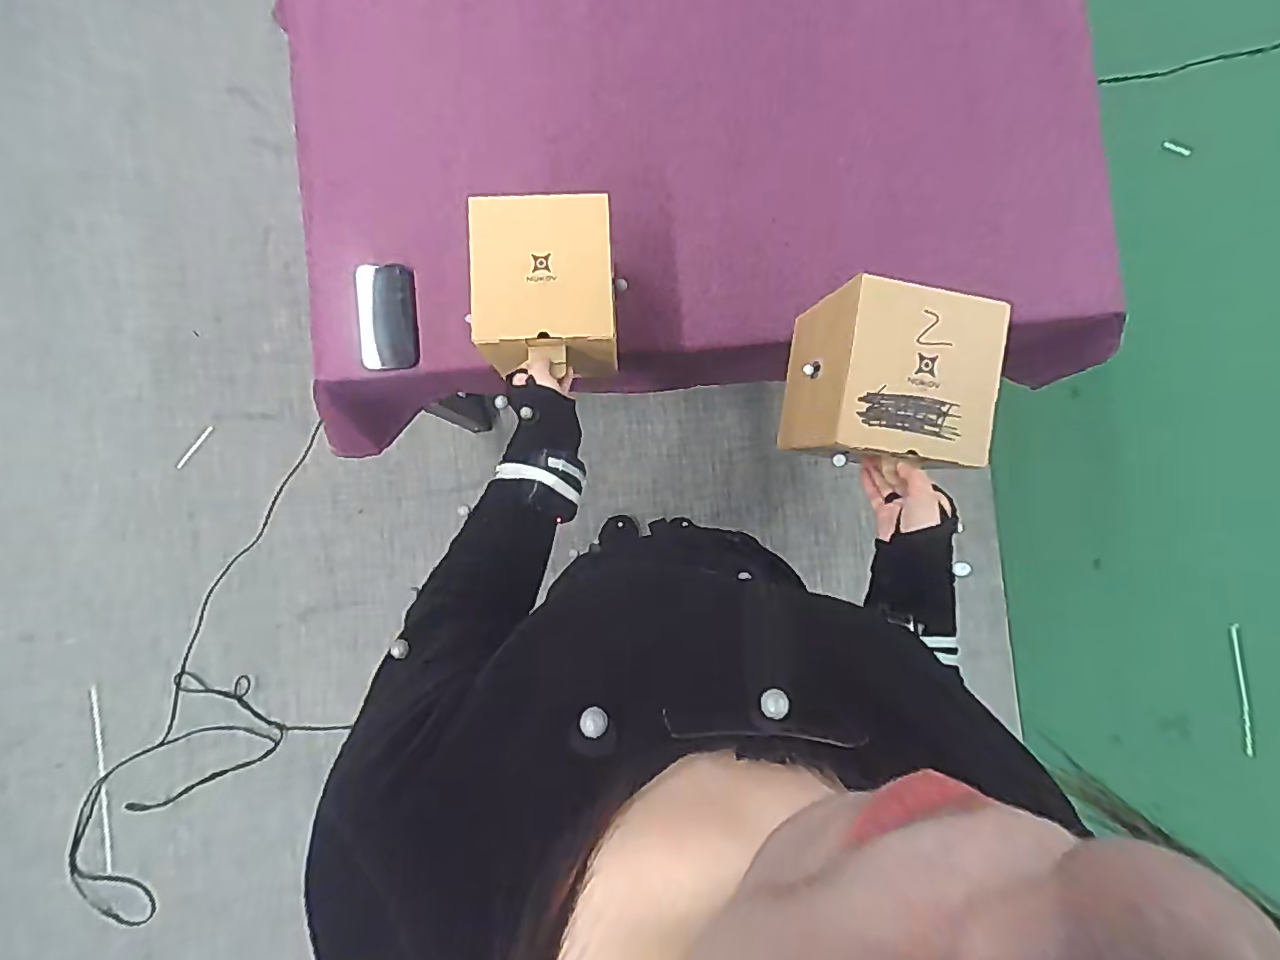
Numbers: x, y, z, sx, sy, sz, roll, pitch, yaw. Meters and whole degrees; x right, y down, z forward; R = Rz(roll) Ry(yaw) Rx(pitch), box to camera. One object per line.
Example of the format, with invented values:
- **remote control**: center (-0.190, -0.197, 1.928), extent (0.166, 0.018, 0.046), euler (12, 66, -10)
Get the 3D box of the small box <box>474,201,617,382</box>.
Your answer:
- **small box**: center (-0.116, -0.236, 0.710), extent (0.168, 0.176, 0.179), euler (-2, 87, -3)
